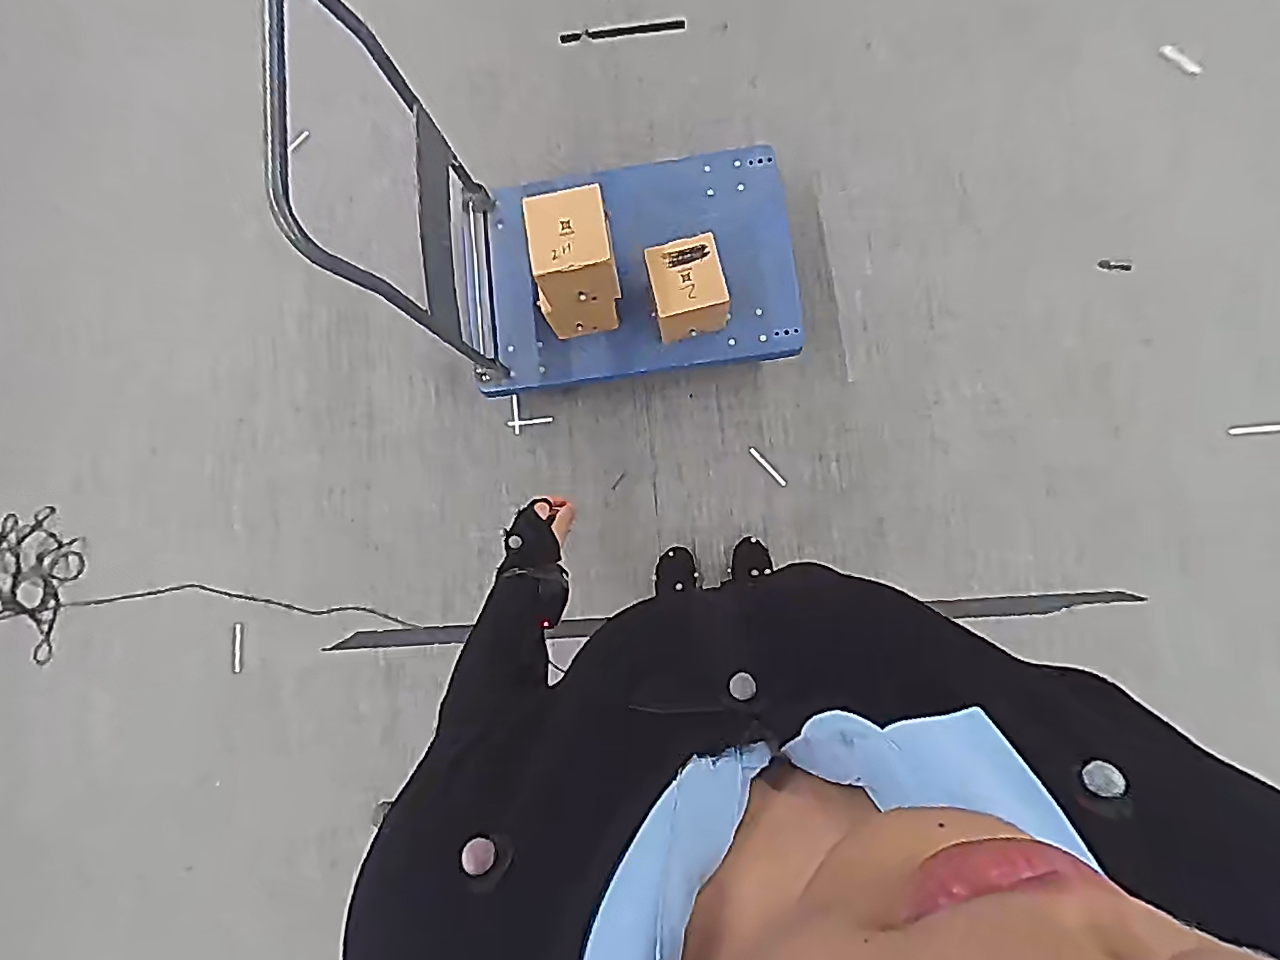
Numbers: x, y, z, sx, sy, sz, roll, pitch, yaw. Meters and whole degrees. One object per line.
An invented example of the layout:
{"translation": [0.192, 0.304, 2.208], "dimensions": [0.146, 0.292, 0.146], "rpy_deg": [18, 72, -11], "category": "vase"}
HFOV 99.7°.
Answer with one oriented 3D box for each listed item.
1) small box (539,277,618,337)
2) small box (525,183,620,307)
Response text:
{"translation": [-0.153, -0.481, 1.344], "dimensions": [0.168, 0.176, 0.179], "rpy_deg": [-10, 83, 3], "category": "small box"}
{"translation": [-0.141, -0.504, 1.180], "dimensions": [0.168, 0.176, 0.179], "rpy_deg": [-9, 83, 4], "category": "small box"}
